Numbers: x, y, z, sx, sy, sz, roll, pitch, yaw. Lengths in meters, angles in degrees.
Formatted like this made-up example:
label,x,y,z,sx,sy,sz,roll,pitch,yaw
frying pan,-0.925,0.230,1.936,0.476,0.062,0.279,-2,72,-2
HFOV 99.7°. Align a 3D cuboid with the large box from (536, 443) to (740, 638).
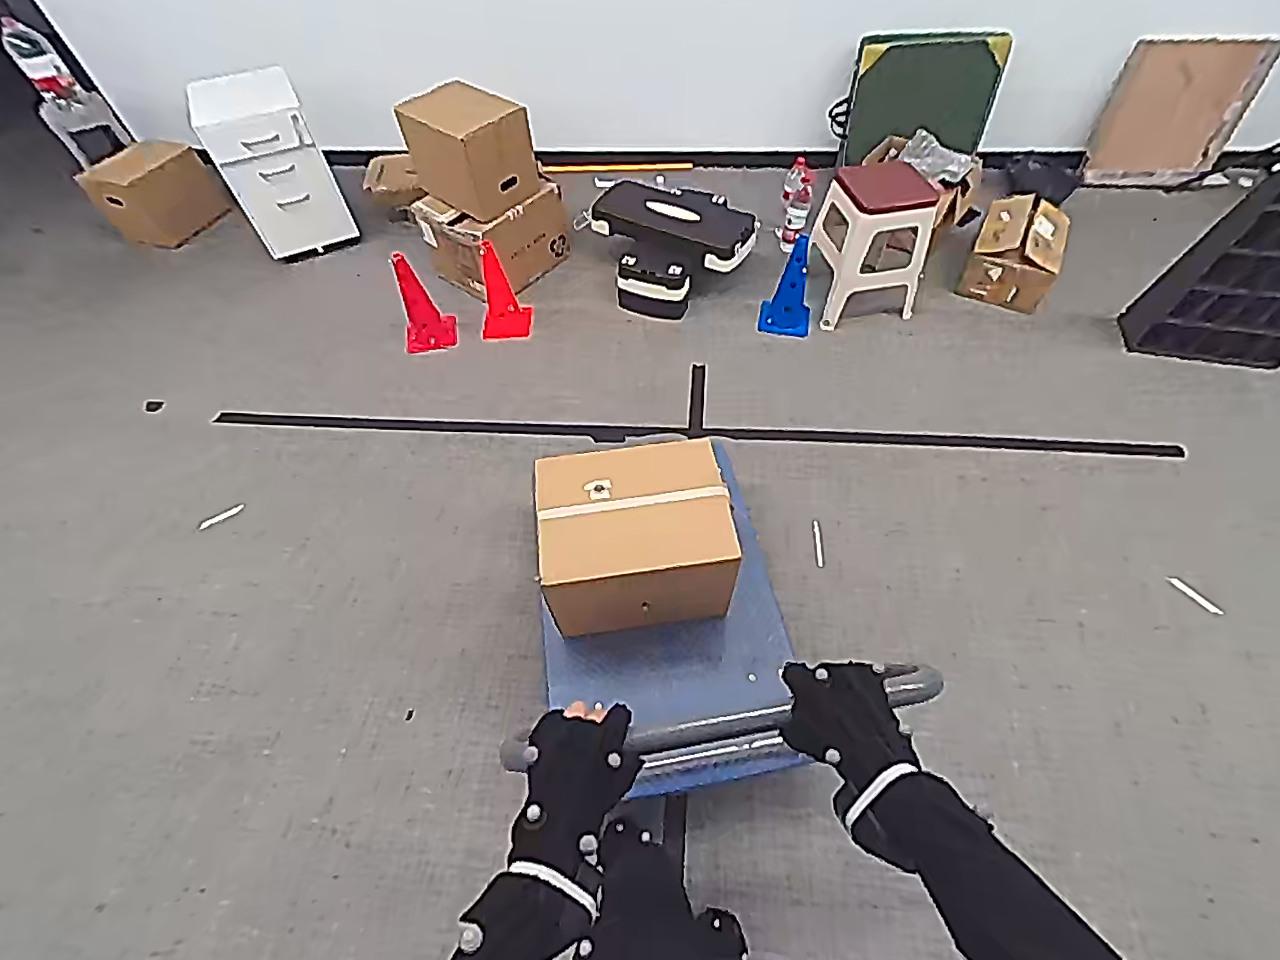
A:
label,x,y,z,sx,sy,sz,roll,pitch,yaw
large box,-0.010,0.150,1.271,0.408,0.320,0.320,-8,55,-2
